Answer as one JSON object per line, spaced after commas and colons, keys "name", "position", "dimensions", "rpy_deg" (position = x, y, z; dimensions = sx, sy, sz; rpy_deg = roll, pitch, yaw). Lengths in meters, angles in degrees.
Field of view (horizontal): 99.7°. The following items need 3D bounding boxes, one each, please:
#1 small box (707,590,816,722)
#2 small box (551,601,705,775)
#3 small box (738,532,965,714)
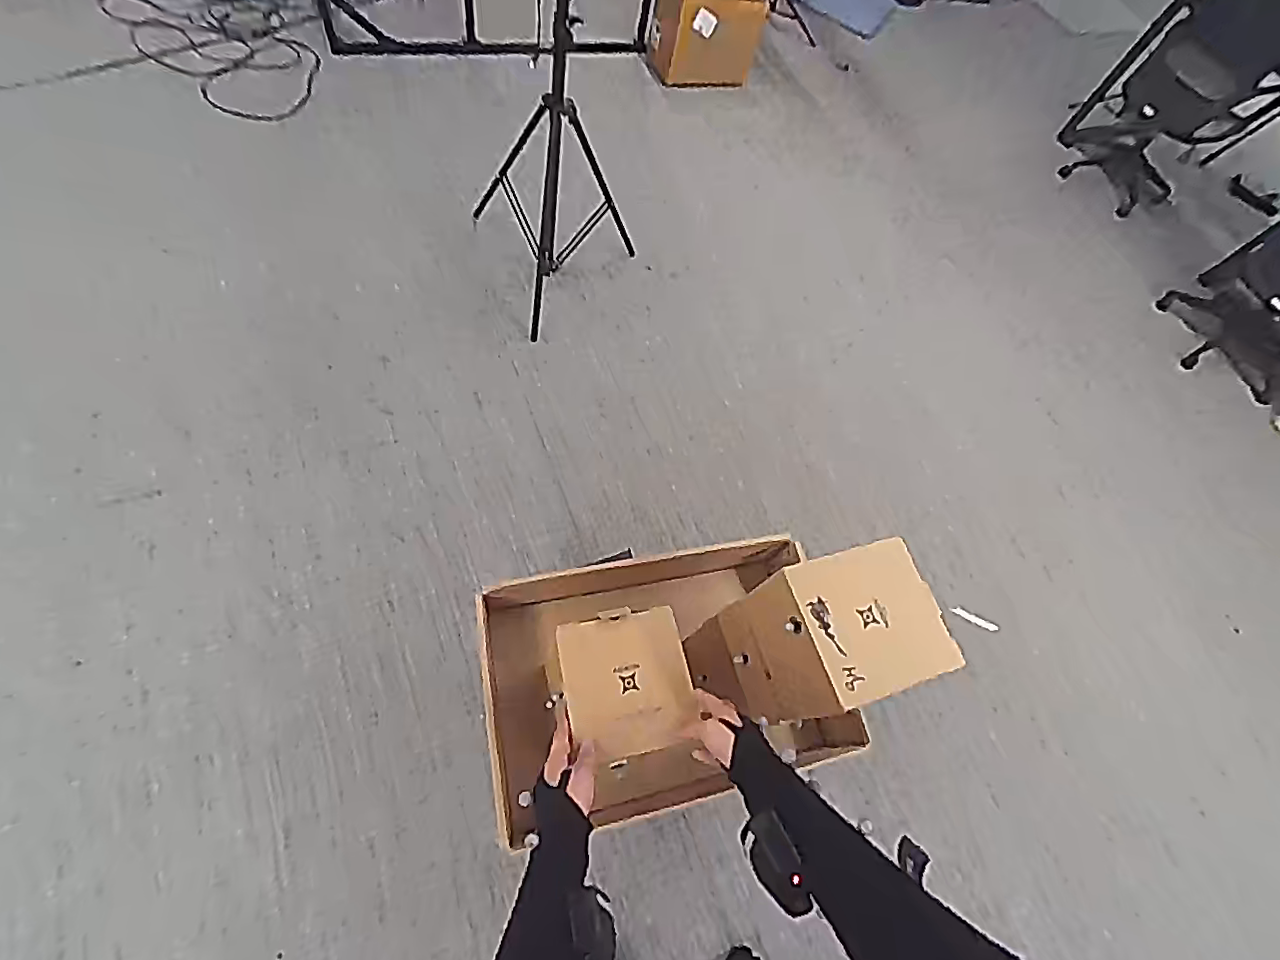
{"name": "small box", "position": [0.221, 0.262, 0.830], "dimensions": [0.168, 0.176, 0.179], "rpy_deg": [-10, 65, -16]}
{"name": "small box", "position": [-0.030, 0.290, 0.751], "dimensions": [0.168, 0.176, 0.179], "rpy_deg": [-6, 59, -15]}
{"name": "small box", "position": [0.253, 0.185, 0.689], "dimensions": [0.179, 0.176, 0.168], "rpy_deg": [-11, 65, -18]}
